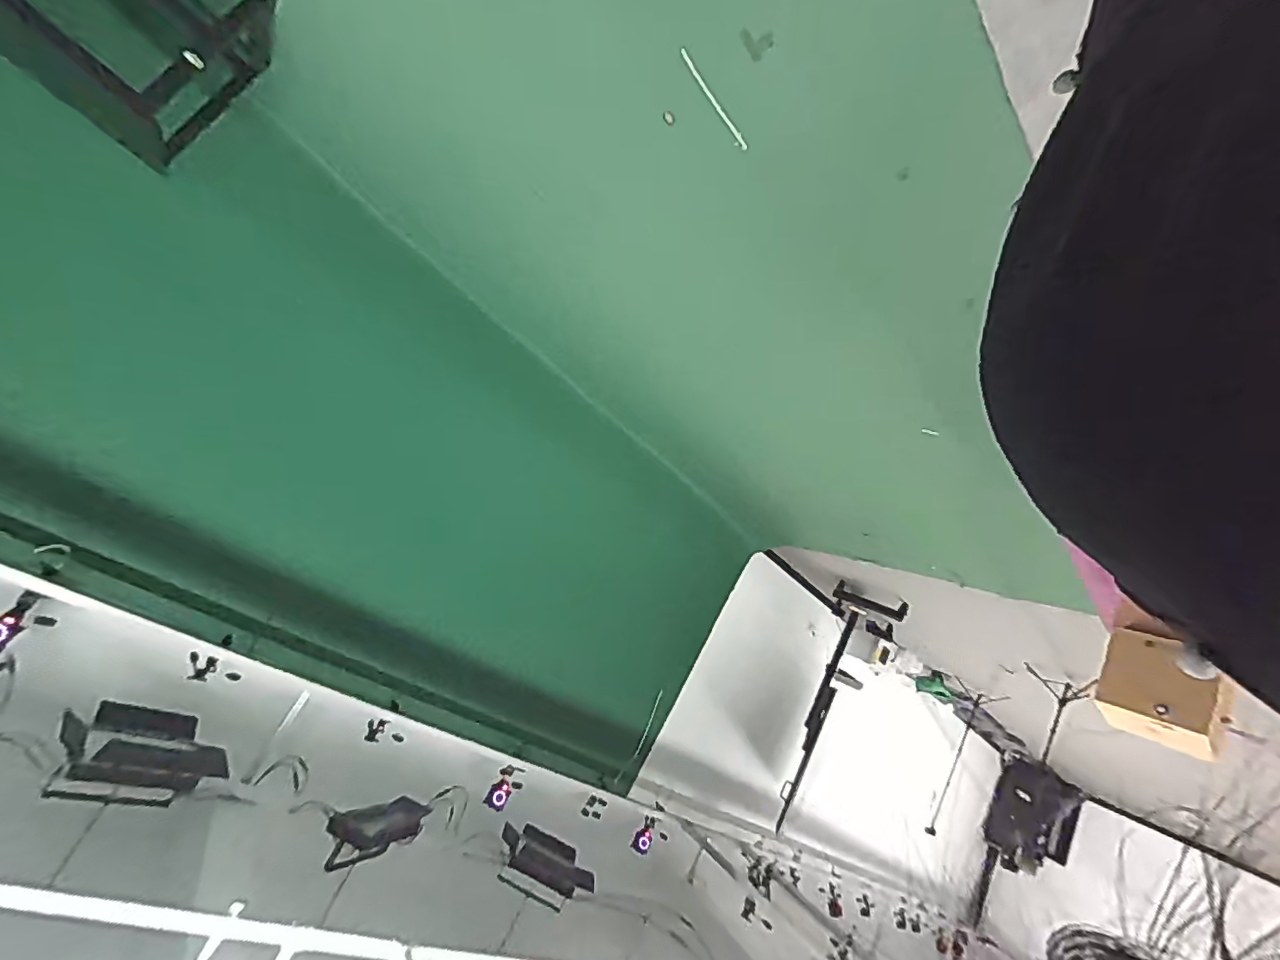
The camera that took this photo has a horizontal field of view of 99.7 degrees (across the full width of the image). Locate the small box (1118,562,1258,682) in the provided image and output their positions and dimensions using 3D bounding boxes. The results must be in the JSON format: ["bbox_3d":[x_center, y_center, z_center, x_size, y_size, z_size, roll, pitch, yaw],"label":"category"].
[{"bbox_3d":[1.156,0.291,1.138,0.168,0.176,0.179,39,163,-28],"label":"small box"}]

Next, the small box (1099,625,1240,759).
[{"bbox_3d":[1.065,0.418,1.085,0.179,0.176,0.168,39,162,-31],"label":"small box"}]
